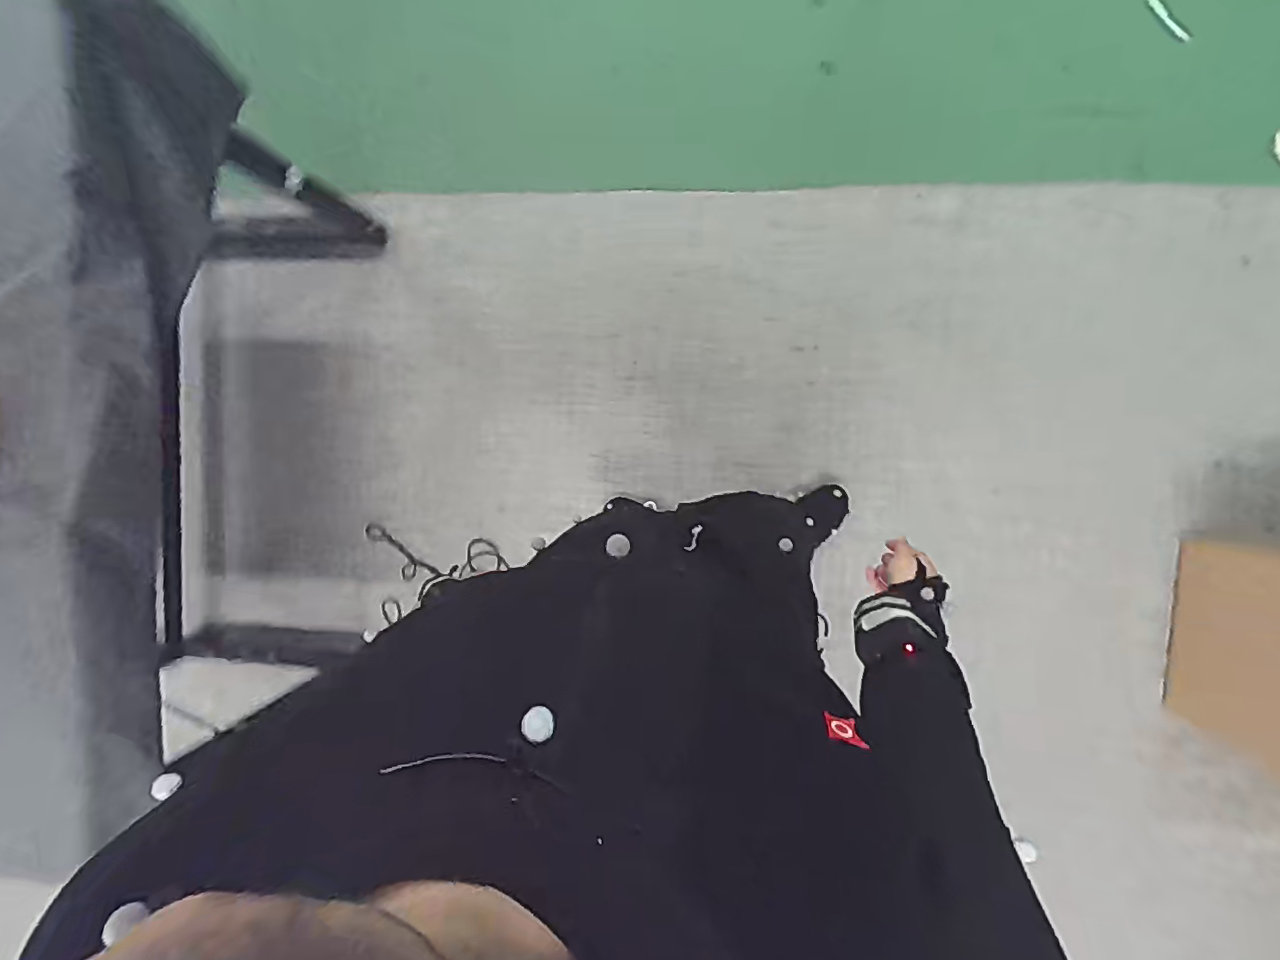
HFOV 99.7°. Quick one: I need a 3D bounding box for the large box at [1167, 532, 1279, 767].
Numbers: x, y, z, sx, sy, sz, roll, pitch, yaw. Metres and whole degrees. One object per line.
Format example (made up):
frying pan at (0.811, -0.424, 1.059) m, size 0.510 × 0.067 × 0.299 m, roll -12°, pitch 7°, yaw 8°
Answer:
large box at (1.335, 0.325, 1.058) m, size 0.320 × 0.320 × 0.408 m, roll 2°, pitch 95°, yaw 8°
